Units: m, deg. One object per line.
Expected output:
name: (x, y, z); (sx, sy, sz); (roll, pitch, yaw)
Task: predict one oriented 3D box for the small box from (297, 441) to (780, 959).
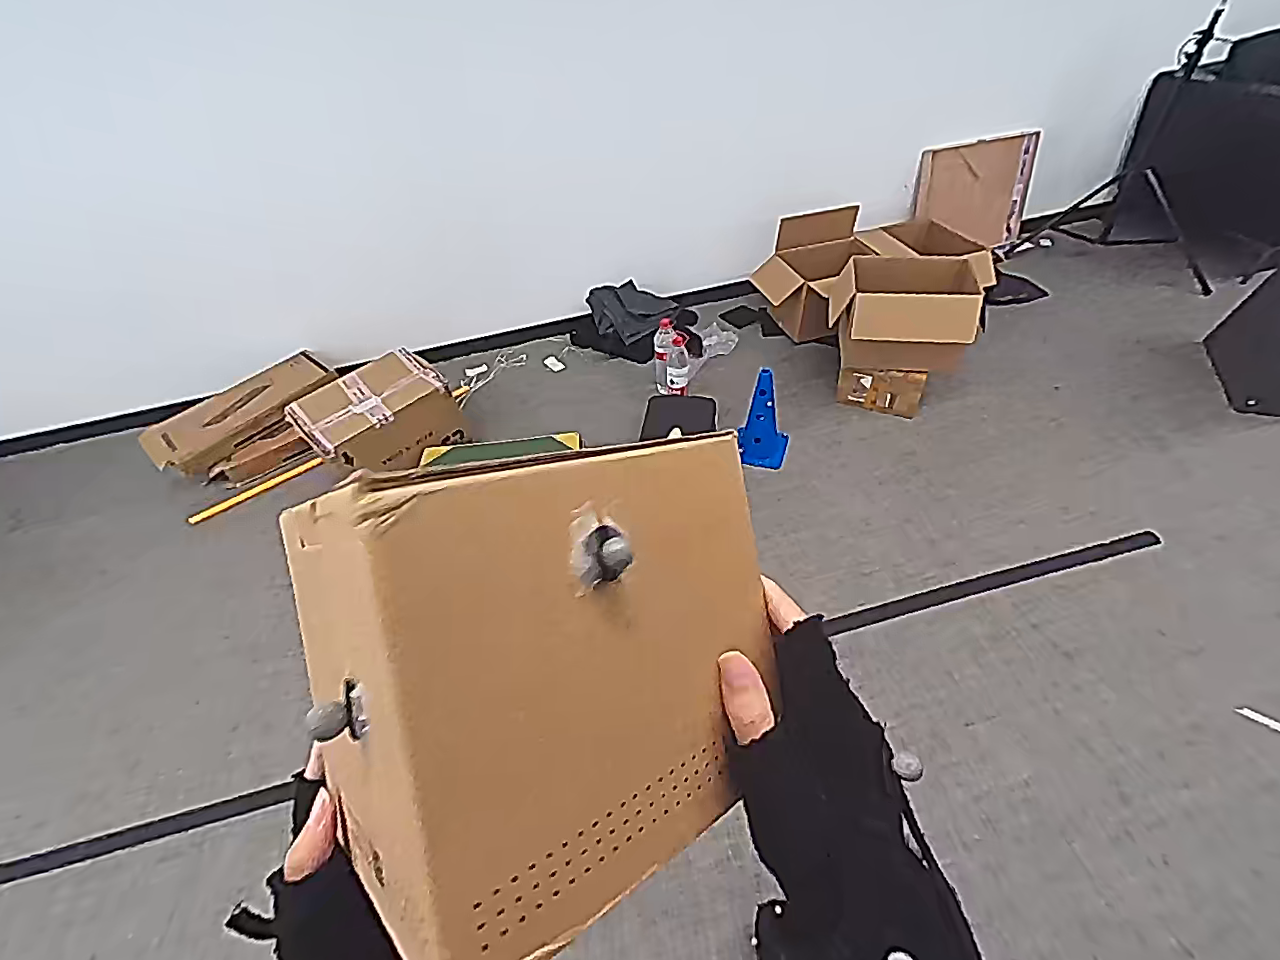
small box: (-0.049, 0.083, 0.276); (0.179, 0.176, 0.168); (-9, -1, -41)
